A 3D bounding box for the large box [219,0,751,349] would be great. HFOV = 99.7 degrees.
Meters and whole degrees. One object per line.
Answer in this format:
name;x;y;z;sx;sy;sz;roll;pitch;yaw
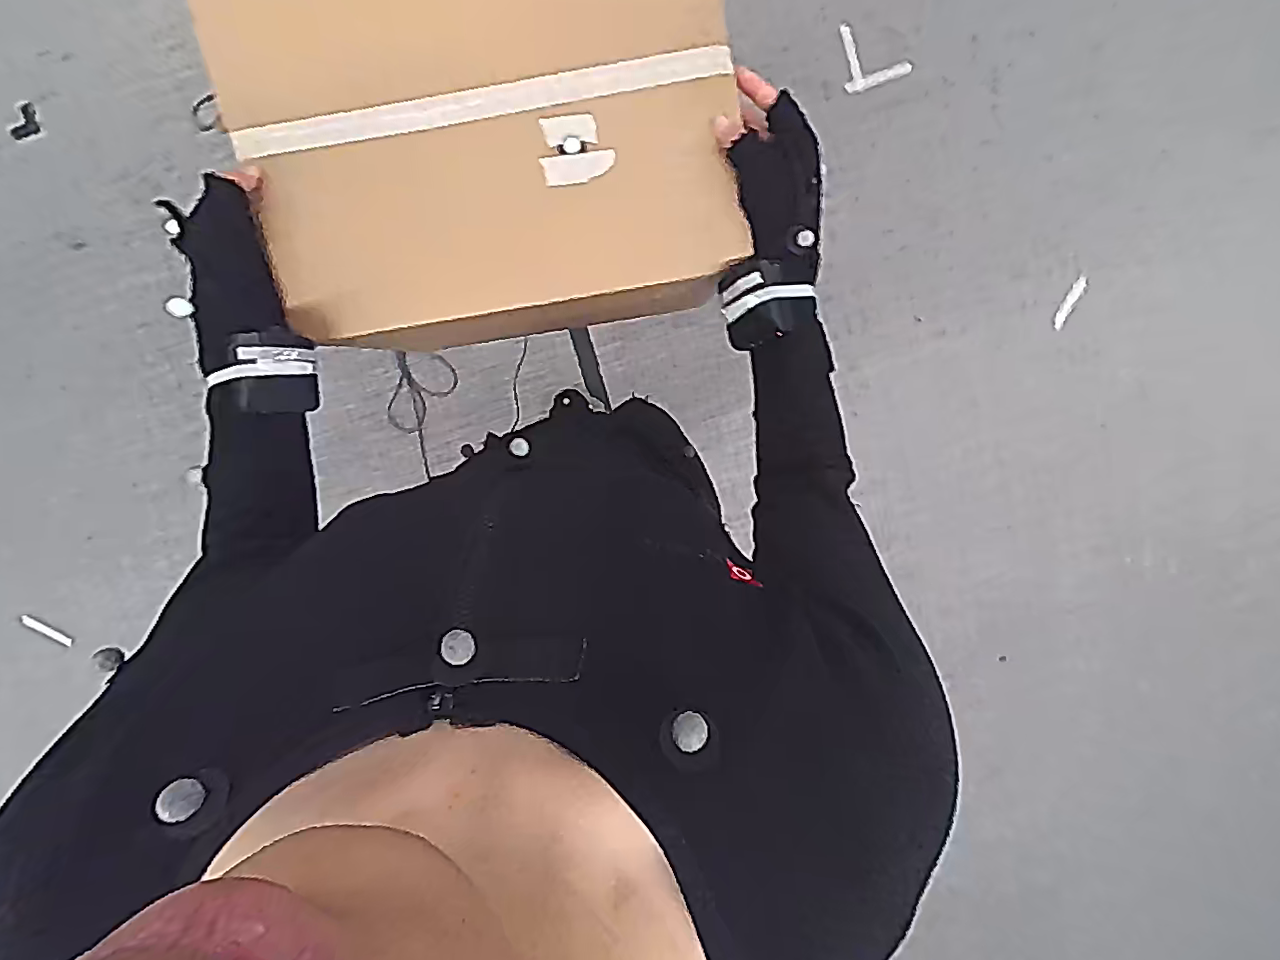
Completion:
large box;-0.127;-0.339;0.598;0.408;0.320;0.320;-10;103;0
